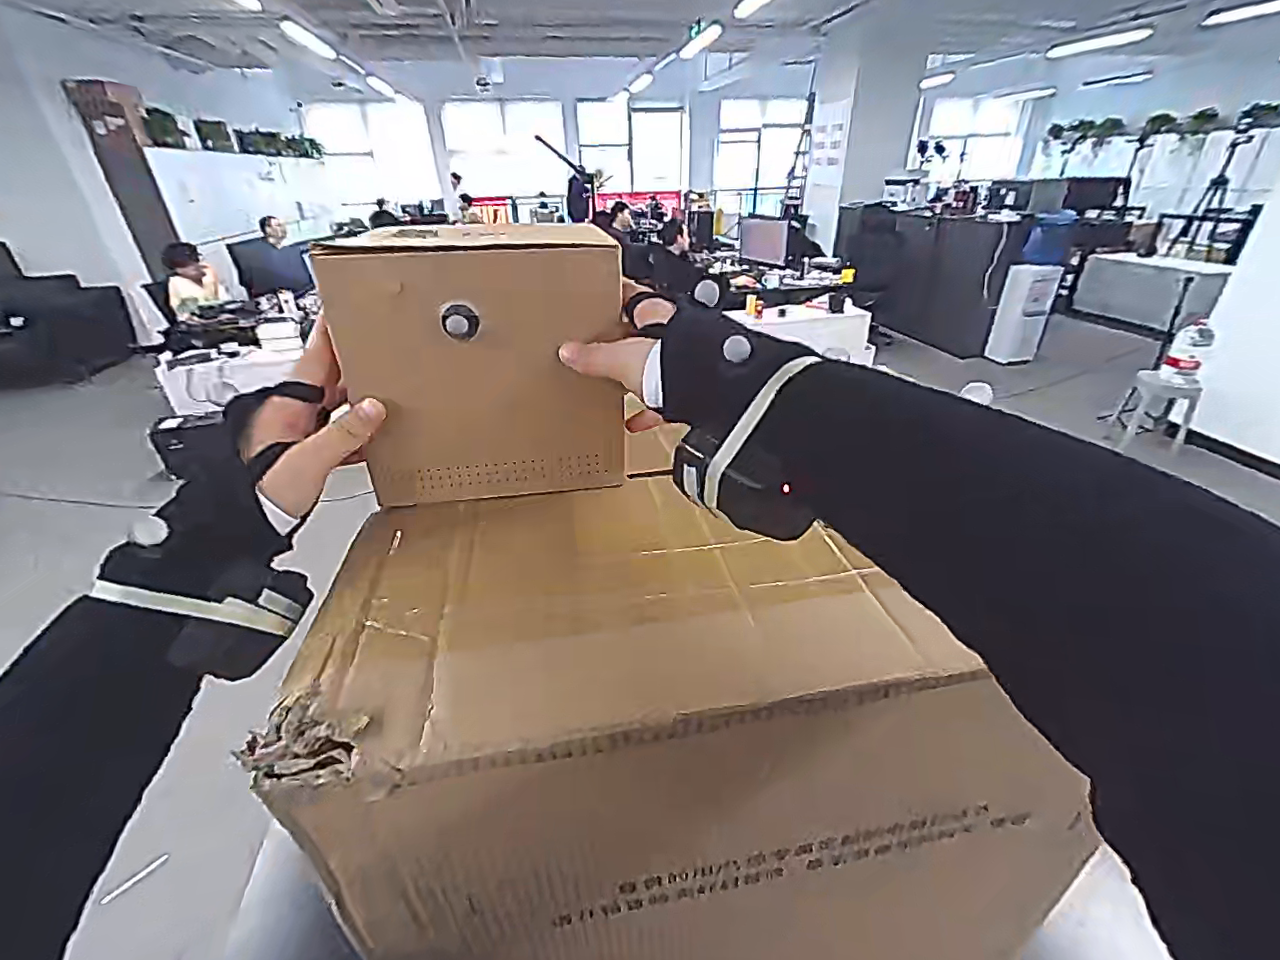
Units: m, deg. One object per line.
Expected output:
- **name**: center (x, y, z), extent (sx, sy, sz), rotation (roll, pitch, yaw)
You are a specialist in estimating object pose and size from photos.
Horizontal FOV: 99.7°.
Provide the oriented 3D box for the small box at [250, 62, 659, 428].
- **small box**: center (-0.087, -0.138, 0.338), extent (0.179, 0.176, 0.168), rotation (-5, 29, -9)
